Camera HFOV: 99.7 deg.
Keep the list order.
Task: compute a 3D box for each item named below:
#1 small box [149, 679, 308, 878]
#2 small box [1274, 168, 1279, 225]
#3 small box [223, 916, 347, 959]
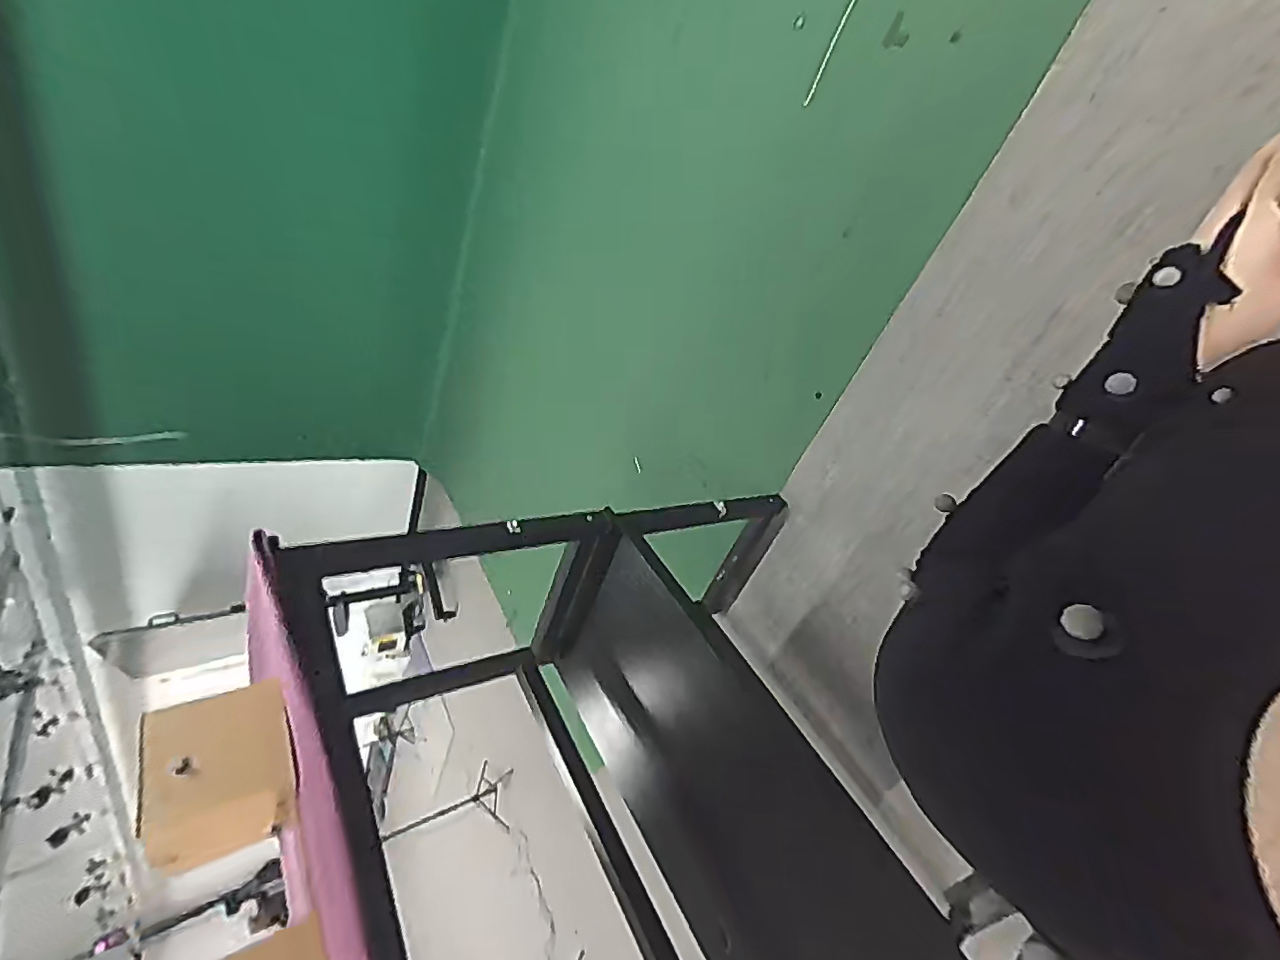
[{"bbox_3d":[-0.603,0.433,0.806,0.179,0.176,0.168,51,132,35],"label":"small box"},{"bbox_3d":[0.431,-0.220,0.232,0.179,0.176,0.168,22,103,45],"label":"small box"},{"bbox_3d":[-0.410,0.627,0.589,0.179,0.176,0.168,48,129,36],"label":"small box"}]
